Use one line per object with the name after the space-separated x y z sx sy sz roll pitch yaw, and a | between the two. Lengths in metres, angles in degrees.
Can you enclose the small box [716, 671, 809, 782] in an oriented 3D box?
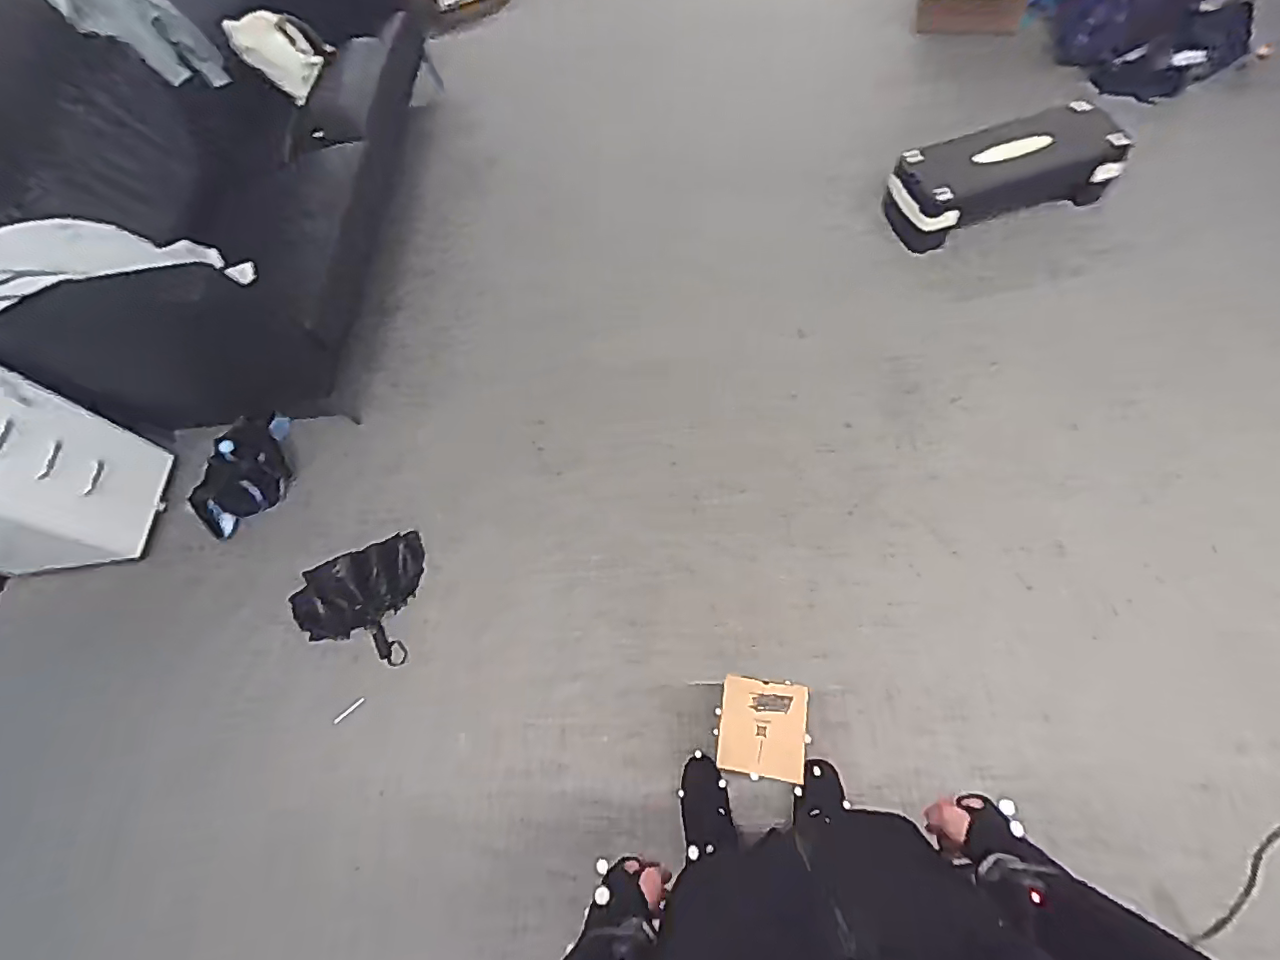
0.256 0.511 1.135 0.168 0.176 0.179 5 68 14 | small box
